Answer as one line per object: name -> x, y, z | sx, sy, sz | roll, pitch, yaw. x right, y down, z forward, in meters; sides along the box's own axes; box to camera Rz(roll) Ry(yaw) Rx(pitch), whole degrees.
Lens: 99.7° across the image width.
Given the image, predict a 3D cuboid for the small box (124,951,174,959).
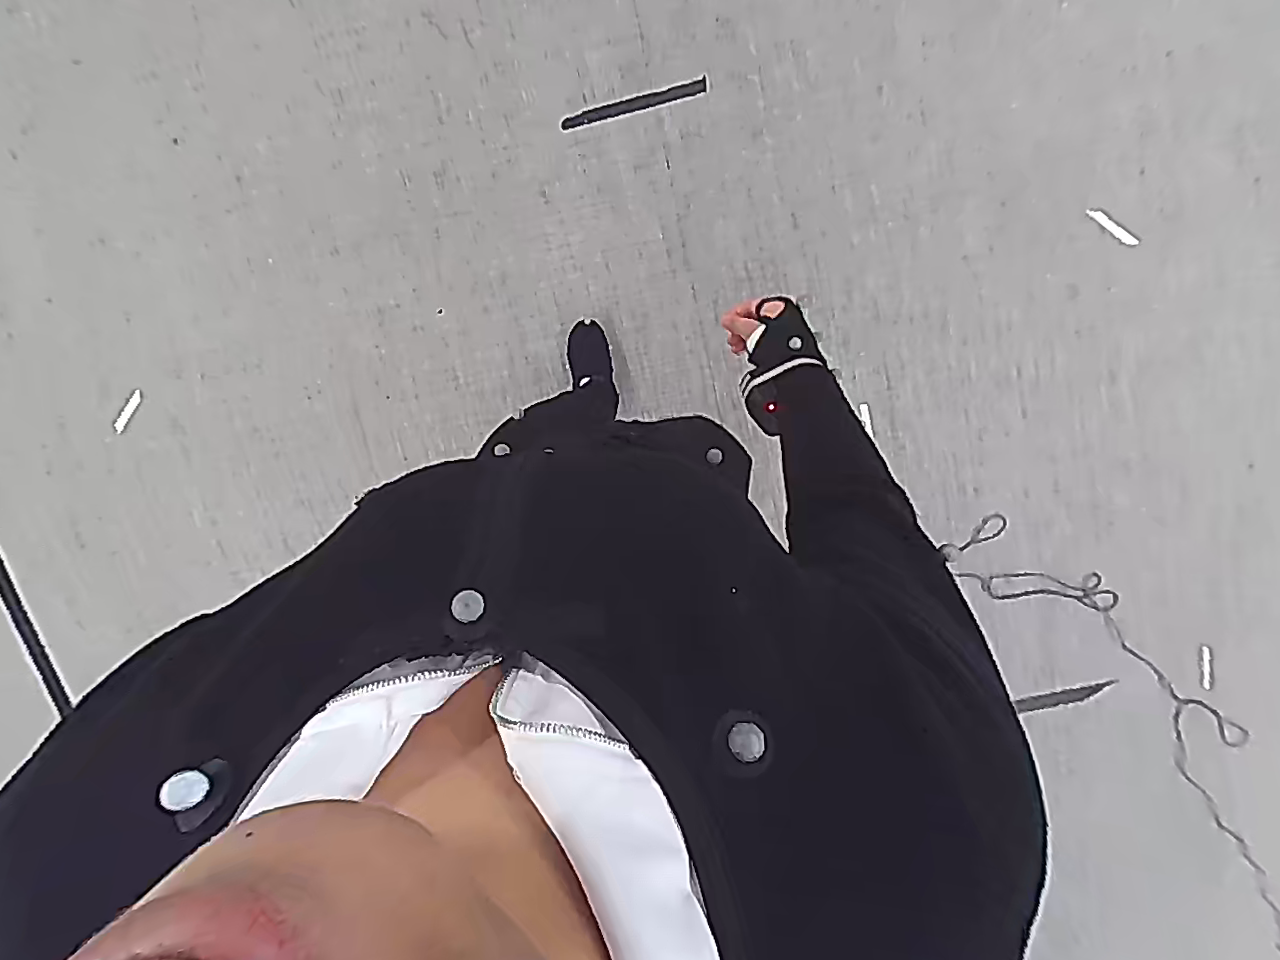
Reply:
small box -> -1.239, 1.279, 1.283 | 0.179, 0.176, 0.168 | -15, 99, 2
